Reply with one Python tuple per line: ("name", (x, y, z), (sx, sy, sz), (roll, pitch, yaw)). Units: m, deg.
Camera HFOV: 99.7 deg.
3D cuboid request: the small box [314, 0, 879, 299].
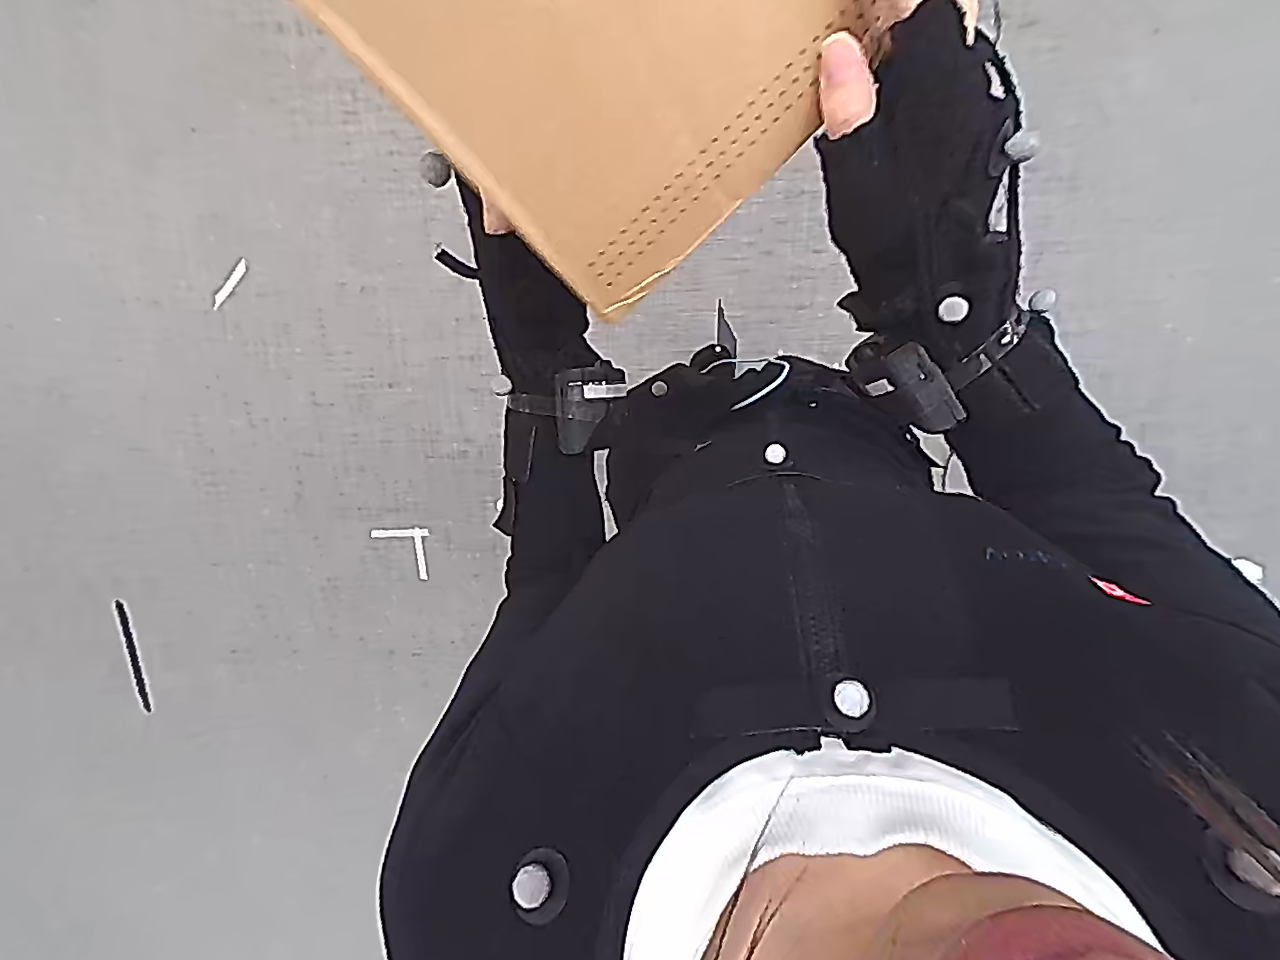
("small box", (-0.023, -0.222, 0.253), (0.179, 0.168, 0.176), (-42, 138, 11))
